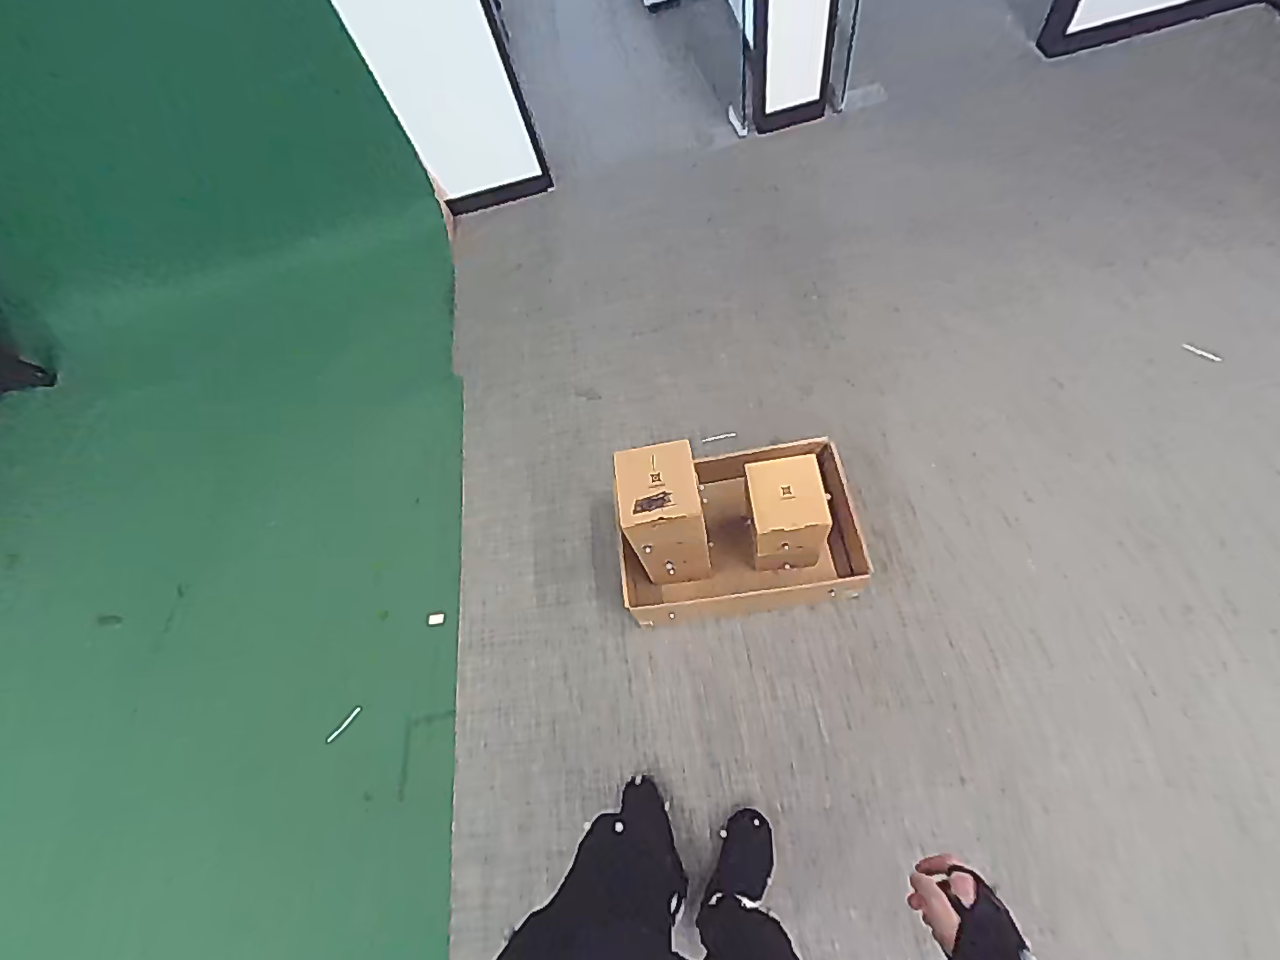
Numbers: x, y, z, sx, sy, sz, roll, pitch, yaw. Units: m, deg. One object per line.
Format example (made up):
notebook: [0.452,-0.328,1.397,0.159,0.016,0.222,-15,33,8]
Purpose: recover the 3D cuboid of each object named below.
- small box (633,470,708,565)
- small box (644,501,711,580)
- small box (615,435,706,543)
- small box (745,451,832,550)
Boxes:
small box: [0.073,0.093,1.319,0.168,0.176,0.179,-8,65,7]
small box: [0.099,0.159,1.465,0.168,0.176,0.179,-8,63,7]
small box: [0.047,0.028,1.171,0.168,0.176,0.179,-9,63,6]
small box: [0.345,0.053,1.289,0.168,0.176,0.179,-8,65,7]
